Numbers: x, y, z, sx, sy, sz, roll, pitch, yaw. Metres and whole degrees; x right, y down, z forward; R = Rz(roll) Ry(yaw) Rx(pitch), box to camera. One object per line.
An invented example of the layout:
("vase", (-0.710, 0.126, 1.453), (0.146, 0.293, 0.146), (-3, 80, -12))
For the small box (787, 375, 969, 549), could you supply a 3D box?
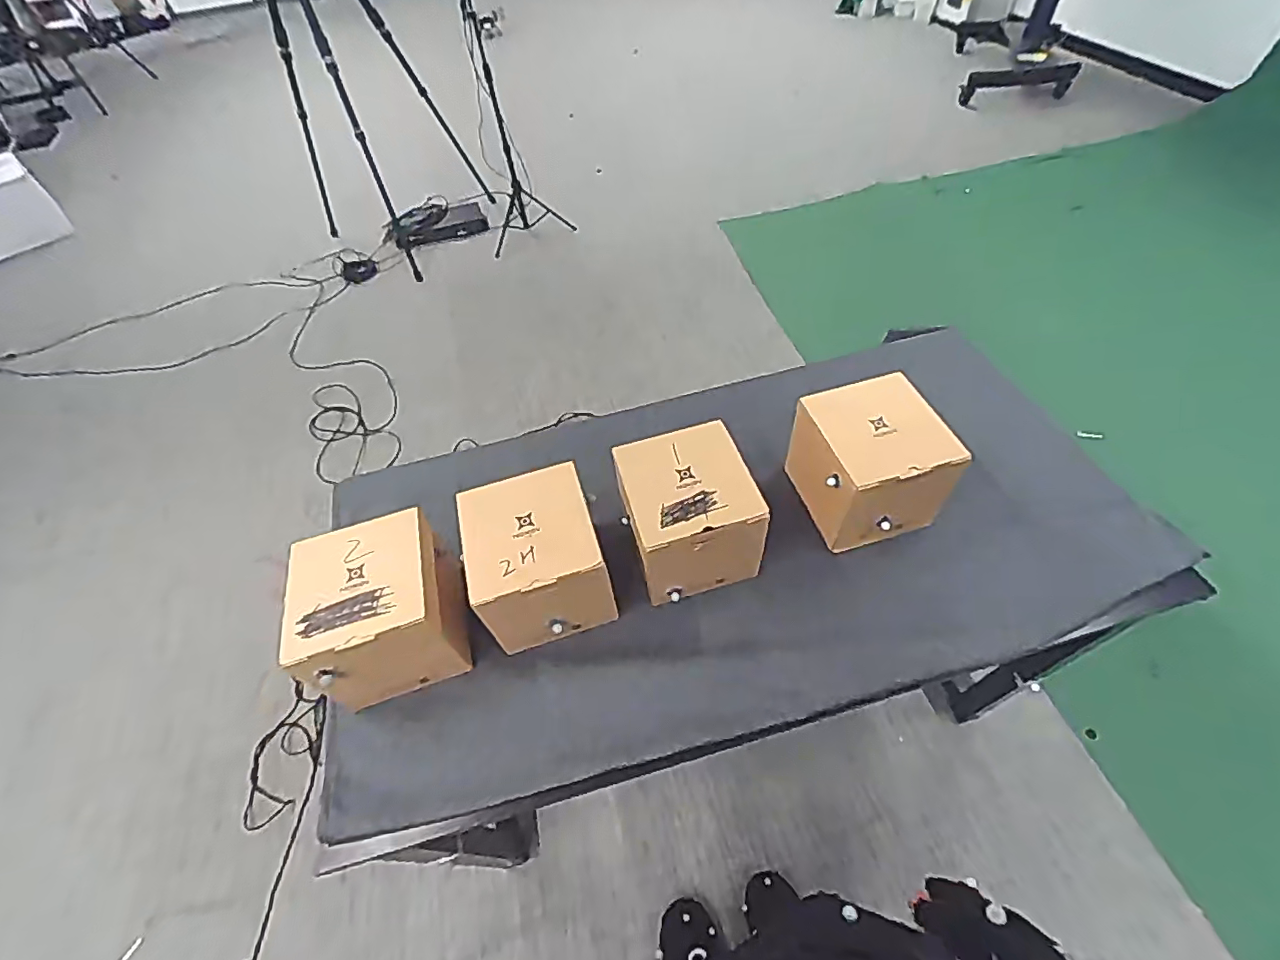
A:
("small box", (0.337, -0.025, 0.812), (0.168, 0.176, 0.179), (-15, 54, -6))
